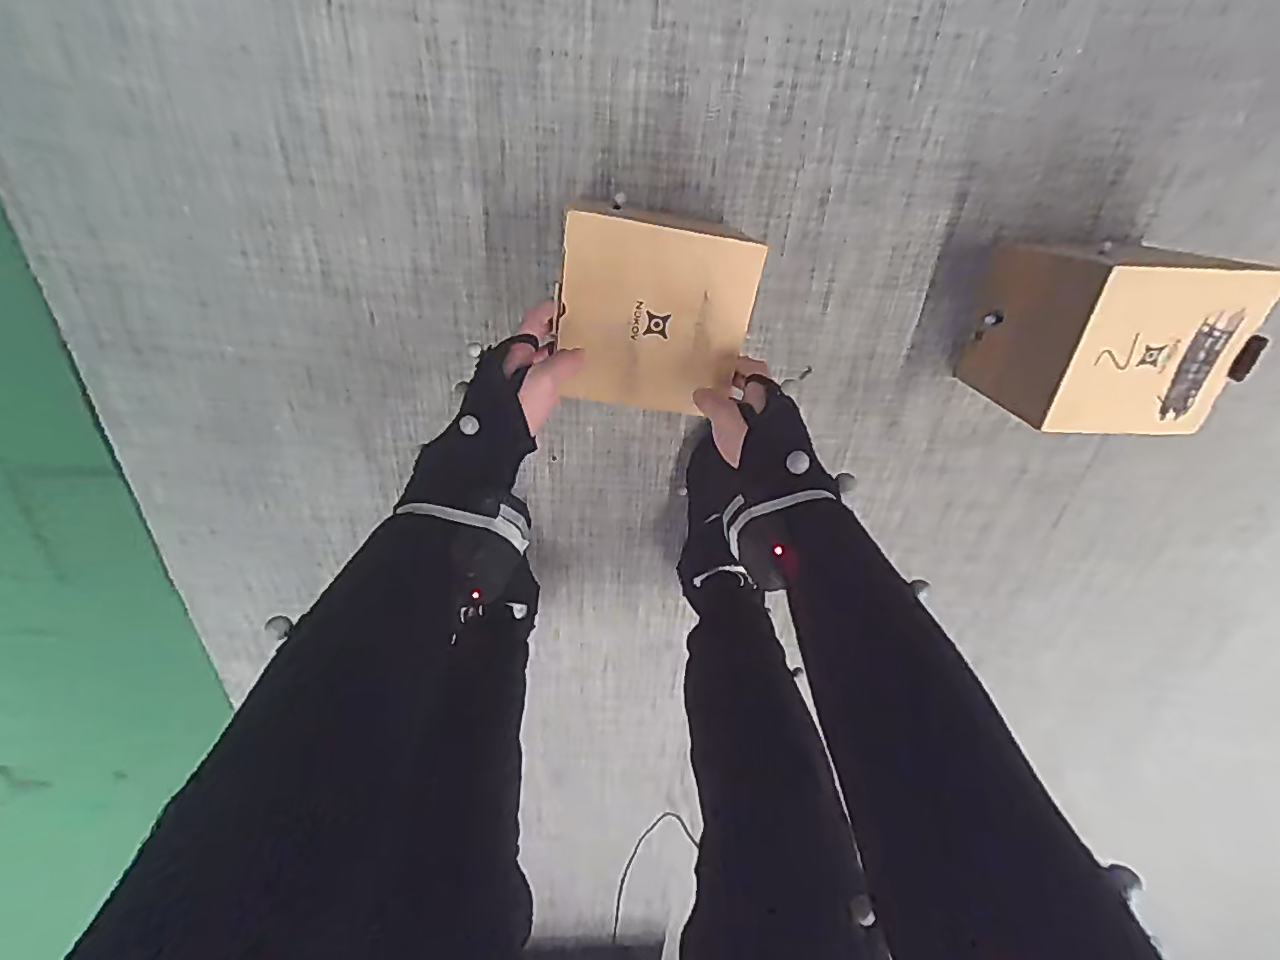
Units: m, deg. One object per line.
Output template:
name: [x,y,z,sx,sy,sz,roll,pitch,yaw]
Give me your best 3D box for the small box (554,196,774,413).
small box: [0.013,-0.189,0.563,0.179,0.176,0.168,8,119,-8]
